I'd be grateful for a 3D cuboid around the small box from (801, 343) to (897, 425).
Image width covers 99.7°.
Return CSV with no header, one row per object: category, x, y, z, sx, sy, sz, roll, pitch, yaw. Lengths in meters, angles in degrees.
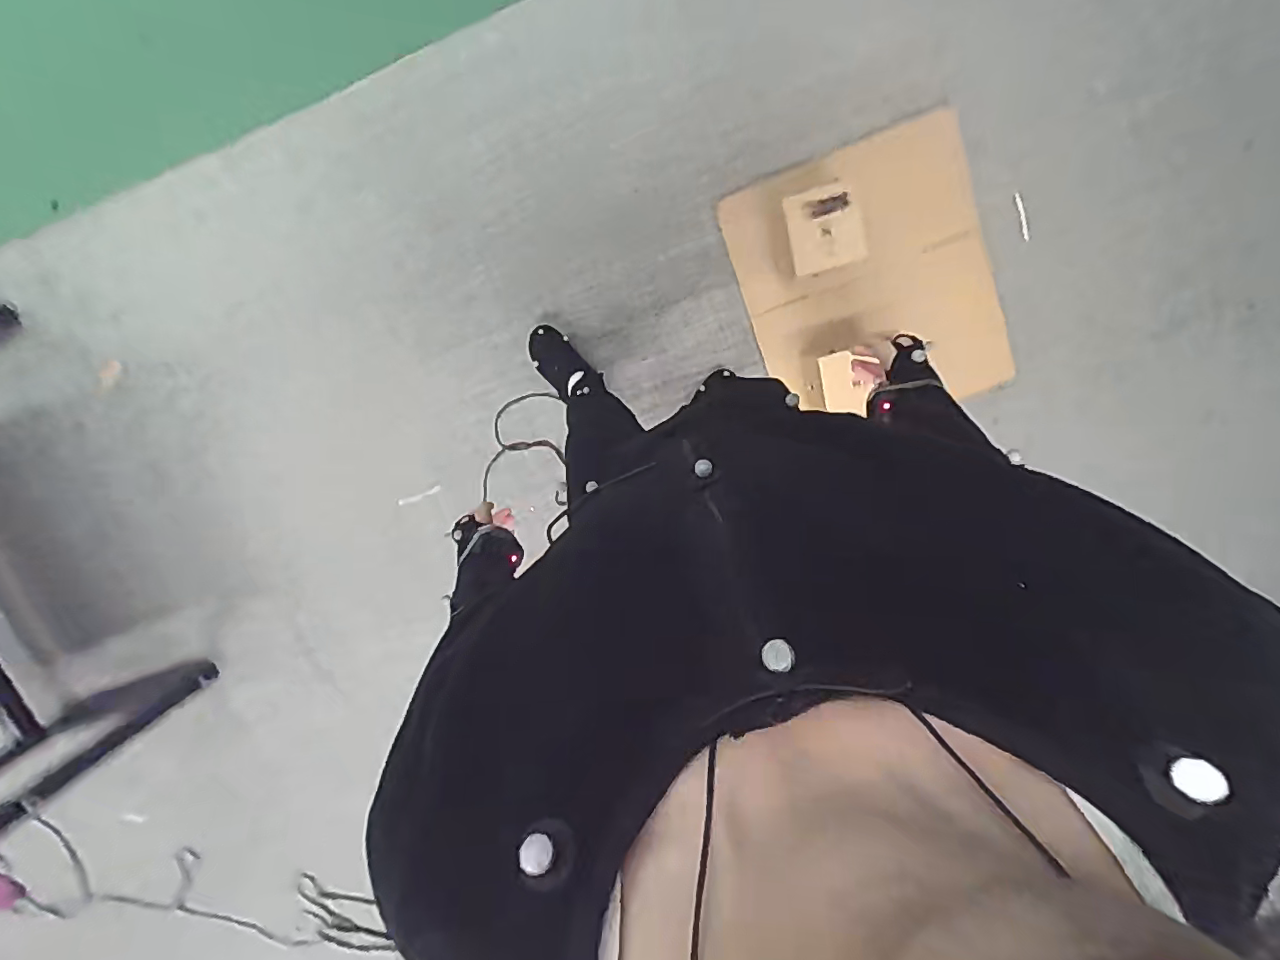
small box,0.512,-0.240,1.347,0.179,0.176,0.168,-12,103,3
